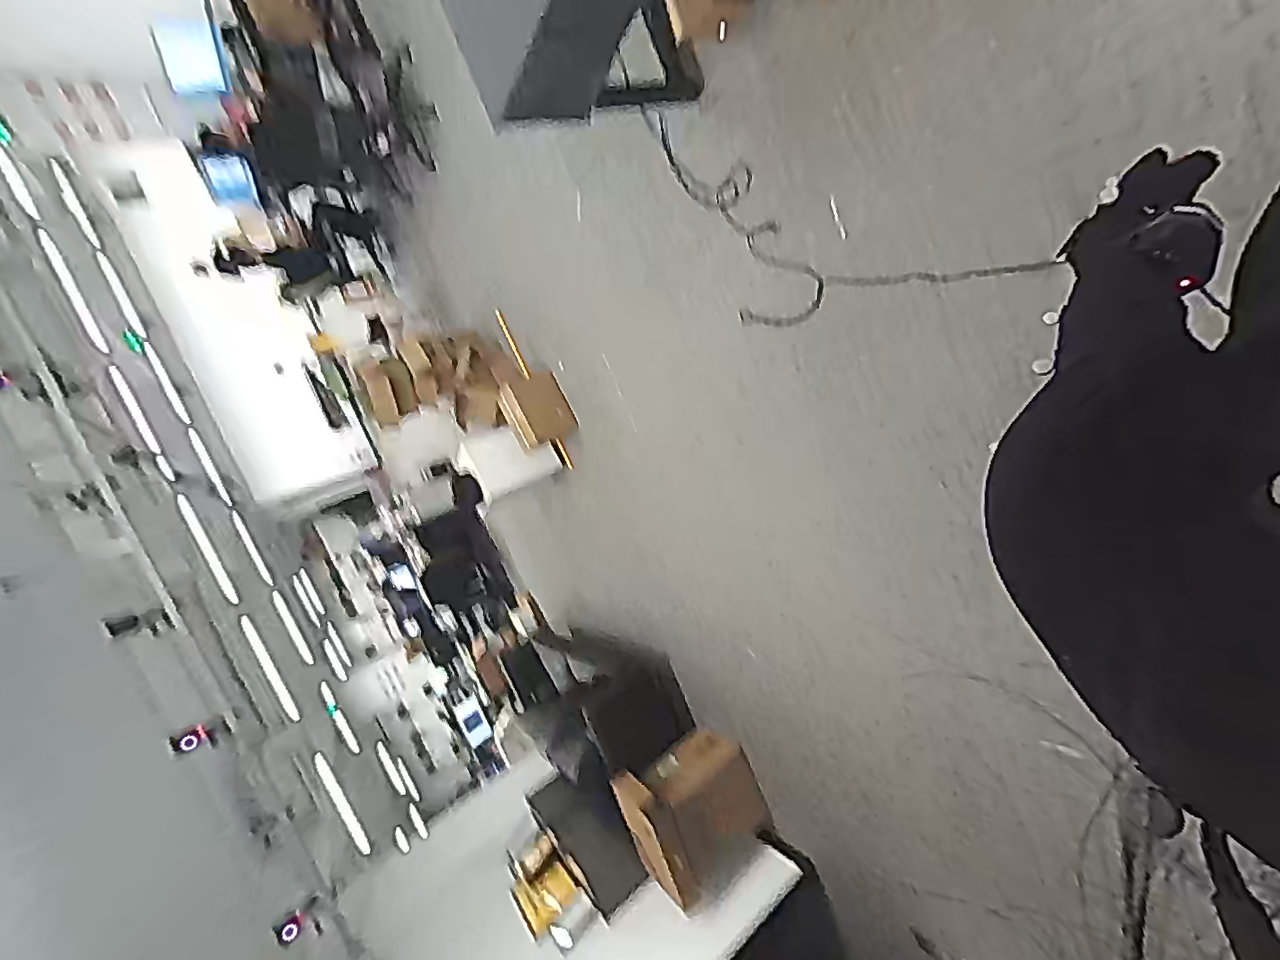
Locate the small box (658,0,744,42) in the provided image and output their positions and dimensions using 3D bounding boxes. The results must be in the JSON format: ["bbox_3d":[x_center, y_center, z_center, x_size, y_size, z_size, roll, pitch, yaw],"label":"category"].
[{"bbox_3d":[0.166,-1.377,1.522,0.168,0.176,0.179,4,115,57],"label":"small box"}]
